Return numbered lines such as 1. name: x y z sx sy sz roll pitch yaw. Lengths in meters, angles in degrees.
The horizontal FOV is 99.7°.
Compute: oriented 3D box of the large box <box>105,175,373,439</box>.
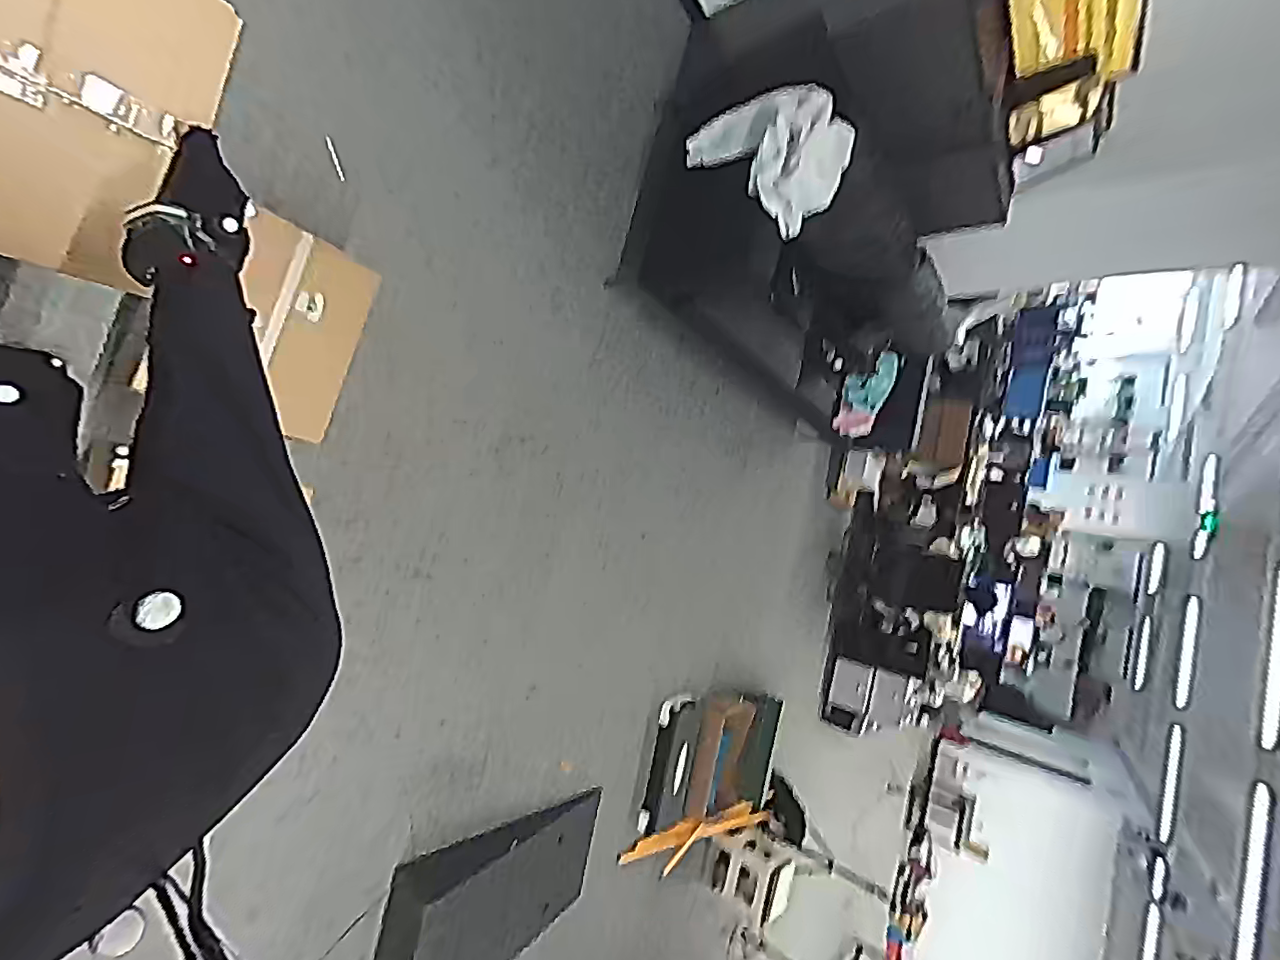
1. large box: -0.836 -0.327 1.137 0.320 0.320 0.408 25 76 -51
